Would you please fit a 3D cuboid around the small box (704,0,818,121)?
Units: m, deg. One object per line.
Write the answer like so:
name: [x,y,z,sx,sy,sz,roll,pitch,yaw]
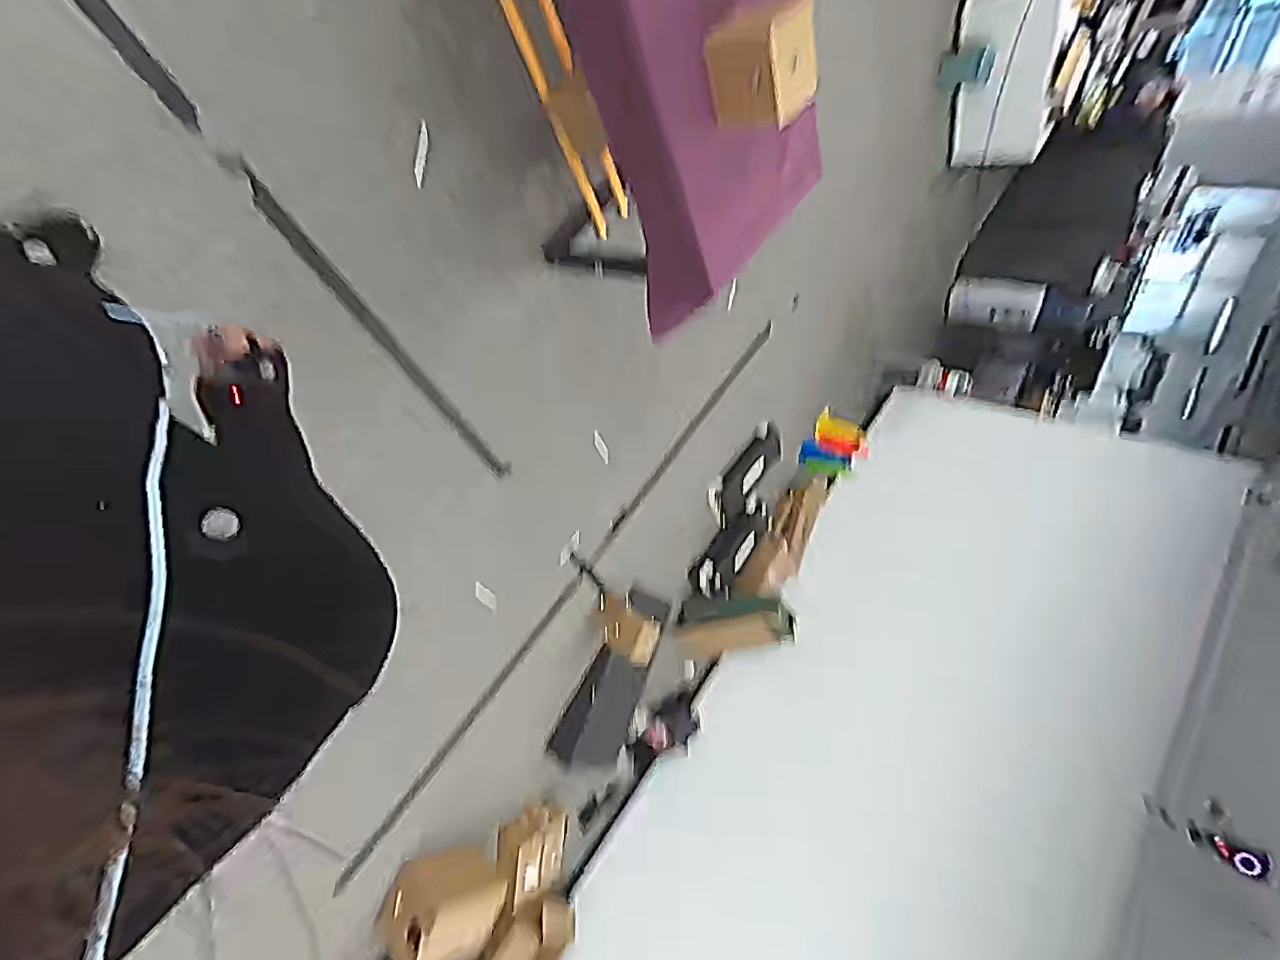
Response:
small box: [0.265,-0.914,1.178,0.168,0.176,0.179,-50,140,-20]
